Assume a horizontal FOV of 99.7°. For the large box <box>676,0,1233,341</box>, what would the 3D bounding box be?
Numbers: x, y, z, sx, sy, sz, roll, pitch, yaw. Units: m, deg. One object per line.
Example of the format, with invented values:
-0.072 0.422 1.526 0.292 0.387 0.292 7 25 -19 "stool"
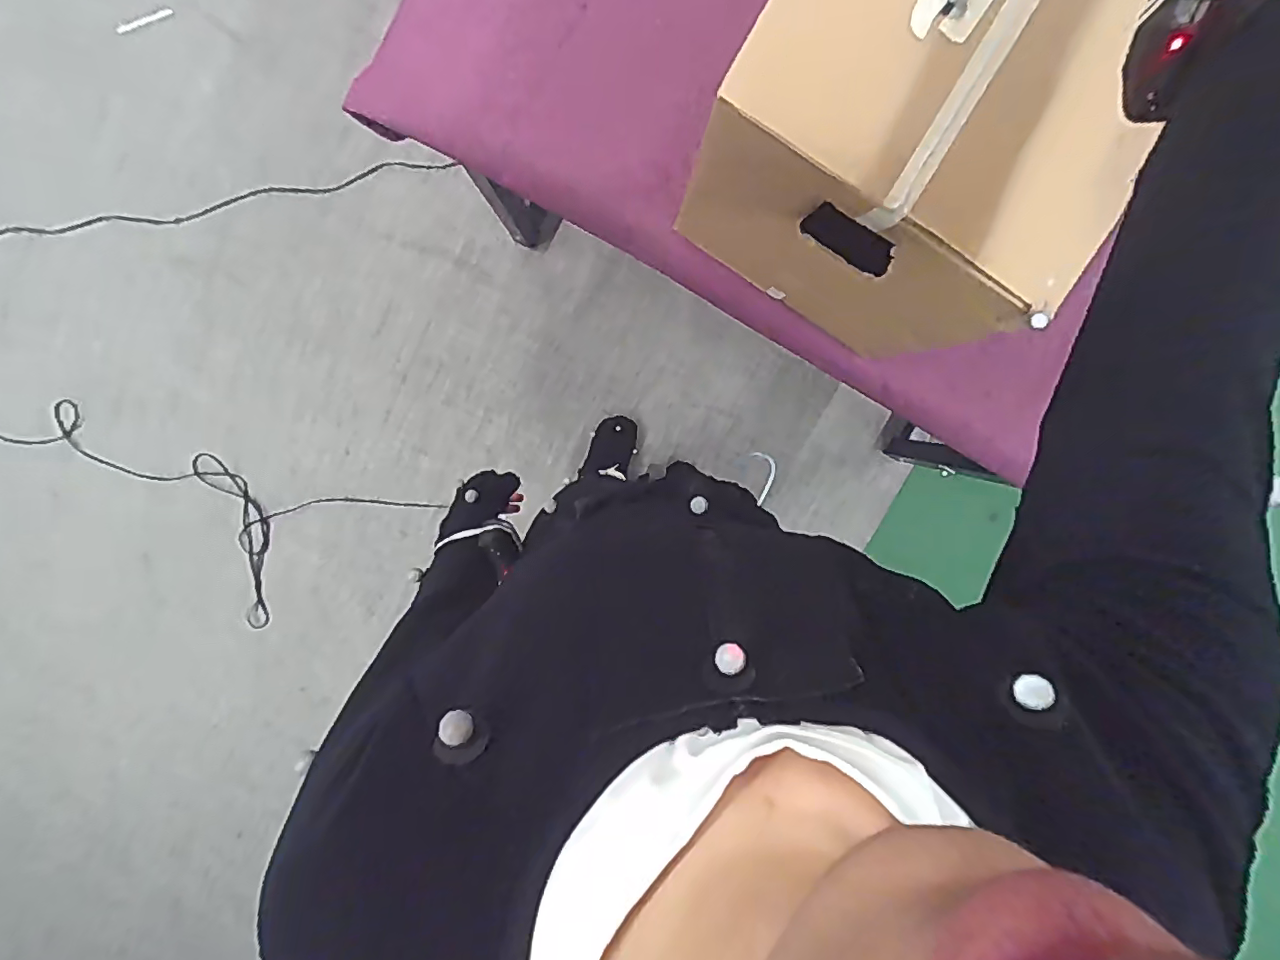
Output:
0.279 -0.405 0.551 0.320 0.320 0.408 31 97 -6 "large box"
